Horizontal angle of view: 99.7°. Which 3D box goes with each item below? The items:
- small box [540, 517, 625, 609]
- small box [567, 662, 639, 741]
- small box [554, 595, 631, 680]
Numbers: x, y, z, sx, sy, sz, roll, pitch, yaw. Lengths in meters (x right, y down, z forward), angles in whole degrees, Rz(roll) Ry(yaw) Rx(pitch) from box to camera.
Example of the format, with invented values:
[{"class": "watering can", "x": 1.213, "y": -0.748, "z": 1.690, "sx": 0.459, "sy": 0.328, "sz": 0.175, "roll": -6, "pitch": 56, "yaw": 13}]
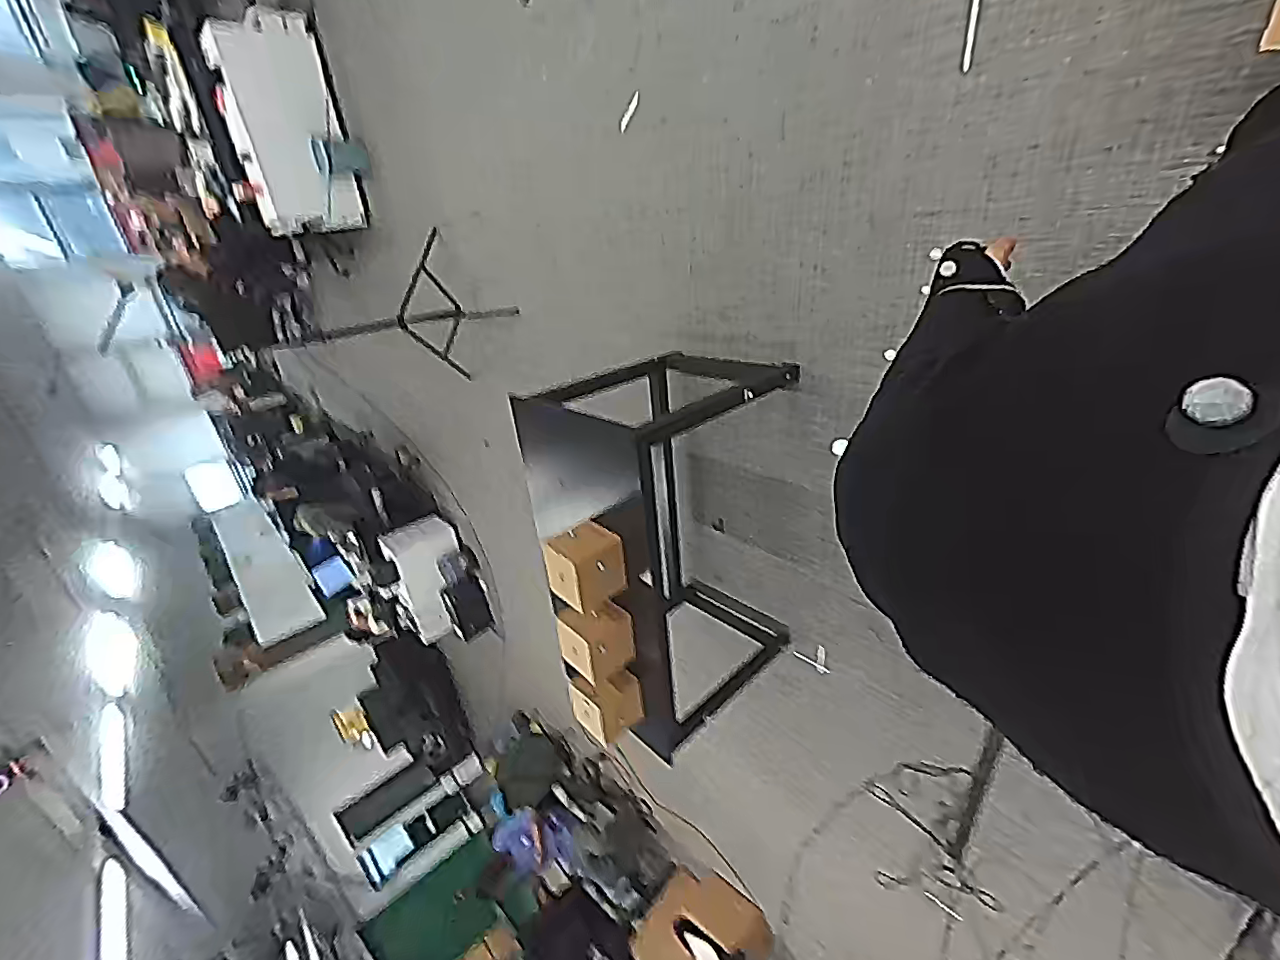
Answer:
[{"class": "small box", "x": -0.162, "y": 0.232, "z": 1.566, "sx": 0.168, "sy": 0.176, "sz": 0.179, "roll": 24, "pitch": 130, "yaw": 44}, {"class": "small box", "x": -0.119, "y": 0.720, "z": 1.810, "sx": 0.168, "sy": 0.176, "sz": 0.179, "roll": 20, "pitch": 126, "yaw": 45}, {"class": "small box", "x": -0.143, "y": 0.476, "z": 1.689, "sx": 0.168, "sy": 0.176, "sz": 0.179, "roll": 24, "pitch": 129, "yaw": 43}]
